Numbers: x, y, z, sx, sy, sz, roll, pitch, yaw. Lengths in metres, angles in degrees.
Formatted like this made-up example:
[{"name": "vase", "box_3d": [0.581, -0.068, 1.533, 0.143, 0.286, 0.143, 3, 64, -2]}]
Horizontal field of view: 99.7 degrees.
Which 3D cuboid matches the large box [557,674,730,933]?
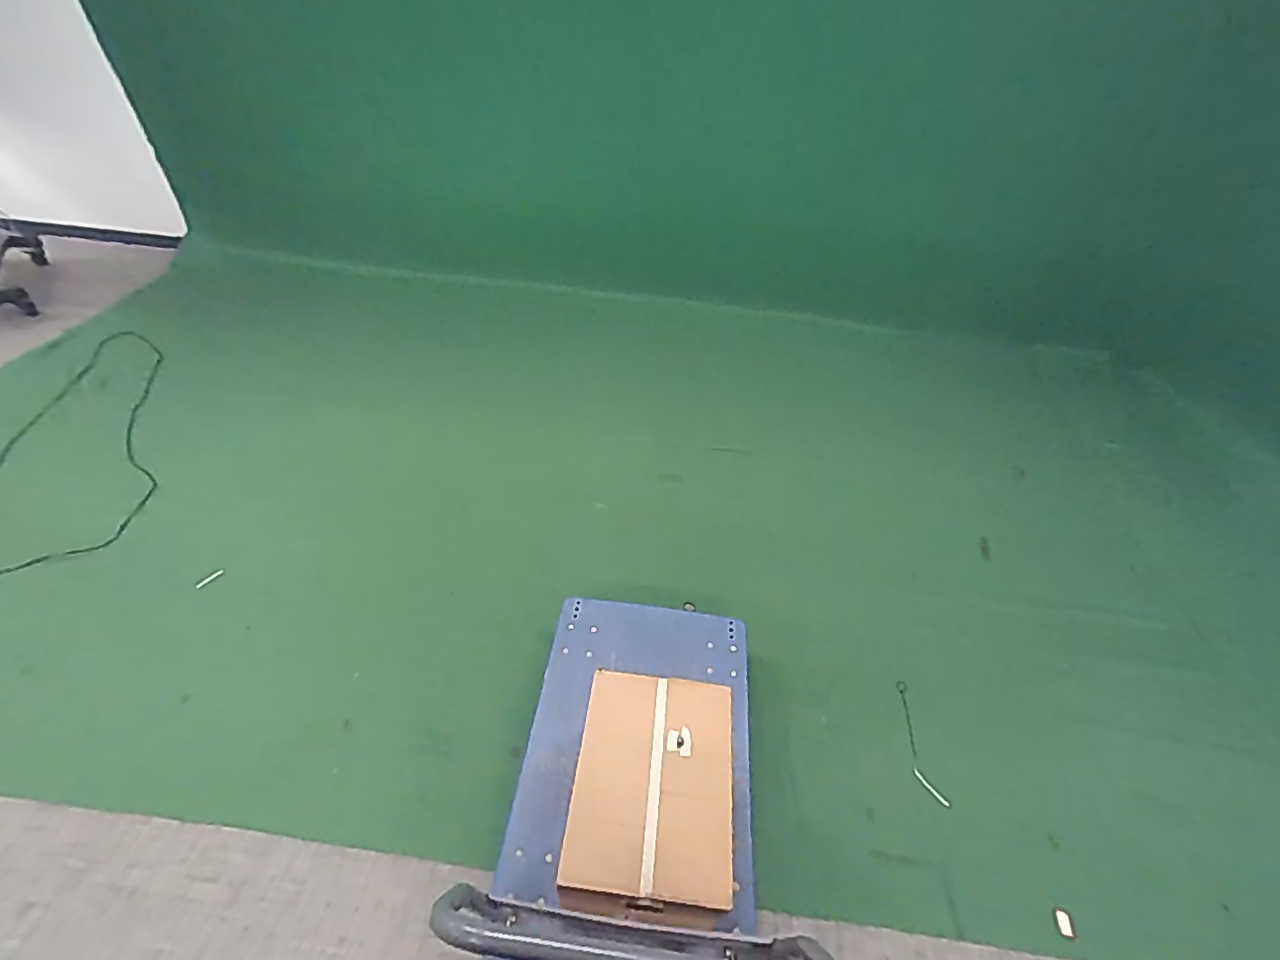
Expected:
[{"name": "large box", "box_3d": [0.012, 0.700, 1.184, 0.320, 0.320, 0.408, 7, 43, 1]}]
